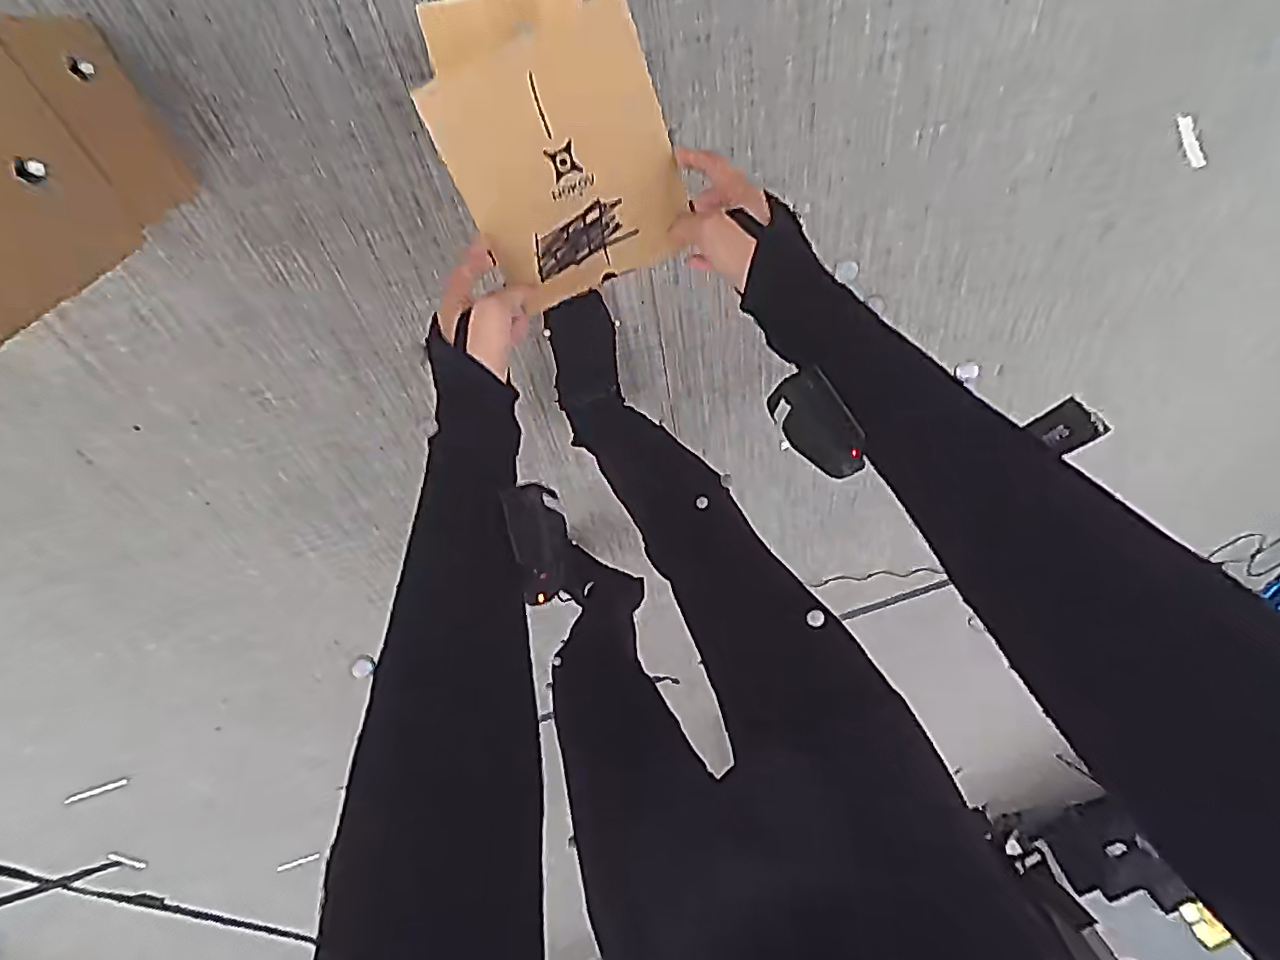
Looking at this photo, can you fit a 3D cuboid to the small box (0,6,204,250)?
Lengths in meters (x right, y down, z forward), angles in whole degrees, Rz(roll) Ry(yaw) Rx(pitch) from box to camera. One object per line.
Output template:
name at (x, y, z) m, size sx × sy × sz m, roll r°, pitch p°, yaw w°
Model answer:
small box at (-0.621, -0.363, 0.567) m, size 0.168 × 0.176 × 0.179 m, roll -18°, pitch 132°, yaw -3°

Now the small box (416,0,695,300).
small box at (-0.061, -0.294, 0.484) m, size 0.168 × 0.176 × 0.179 m, roll -20°, pitch 124°, yaw 8°

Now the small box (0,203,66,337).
small box at (-0.543, -0.150, 0.330) m, size 0.168 × 0.176 × 0.179 m, roll -17°, pitch 133°, yaw -2°
